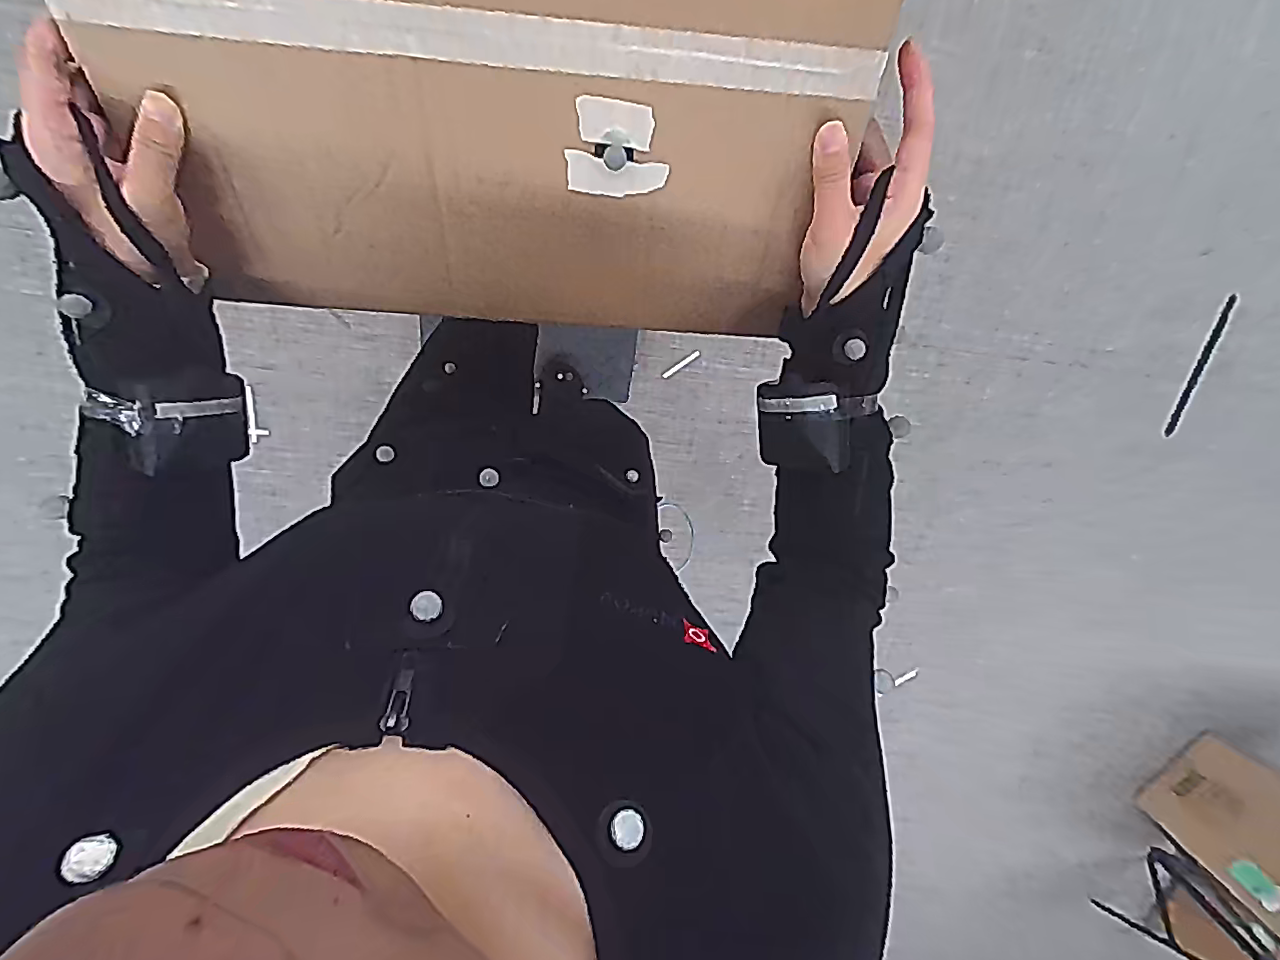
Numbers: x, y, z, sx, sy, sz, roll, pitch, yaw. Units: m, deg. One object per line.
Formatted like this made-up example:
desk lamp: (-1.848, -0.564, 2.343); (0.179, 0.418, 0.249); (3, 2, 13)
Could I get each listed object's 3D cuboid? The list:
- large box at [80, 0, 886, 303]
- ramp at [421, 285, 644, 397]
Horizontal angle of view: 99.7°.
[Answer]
large box: (-0.080, -0.345, 0.373); (0.408, 0.320, 0.320); (2, 137, -5)
ramp: (-0.187, -0.646, 1.059); (0.509, 0.206, 0.991); (4, 112, -9)
